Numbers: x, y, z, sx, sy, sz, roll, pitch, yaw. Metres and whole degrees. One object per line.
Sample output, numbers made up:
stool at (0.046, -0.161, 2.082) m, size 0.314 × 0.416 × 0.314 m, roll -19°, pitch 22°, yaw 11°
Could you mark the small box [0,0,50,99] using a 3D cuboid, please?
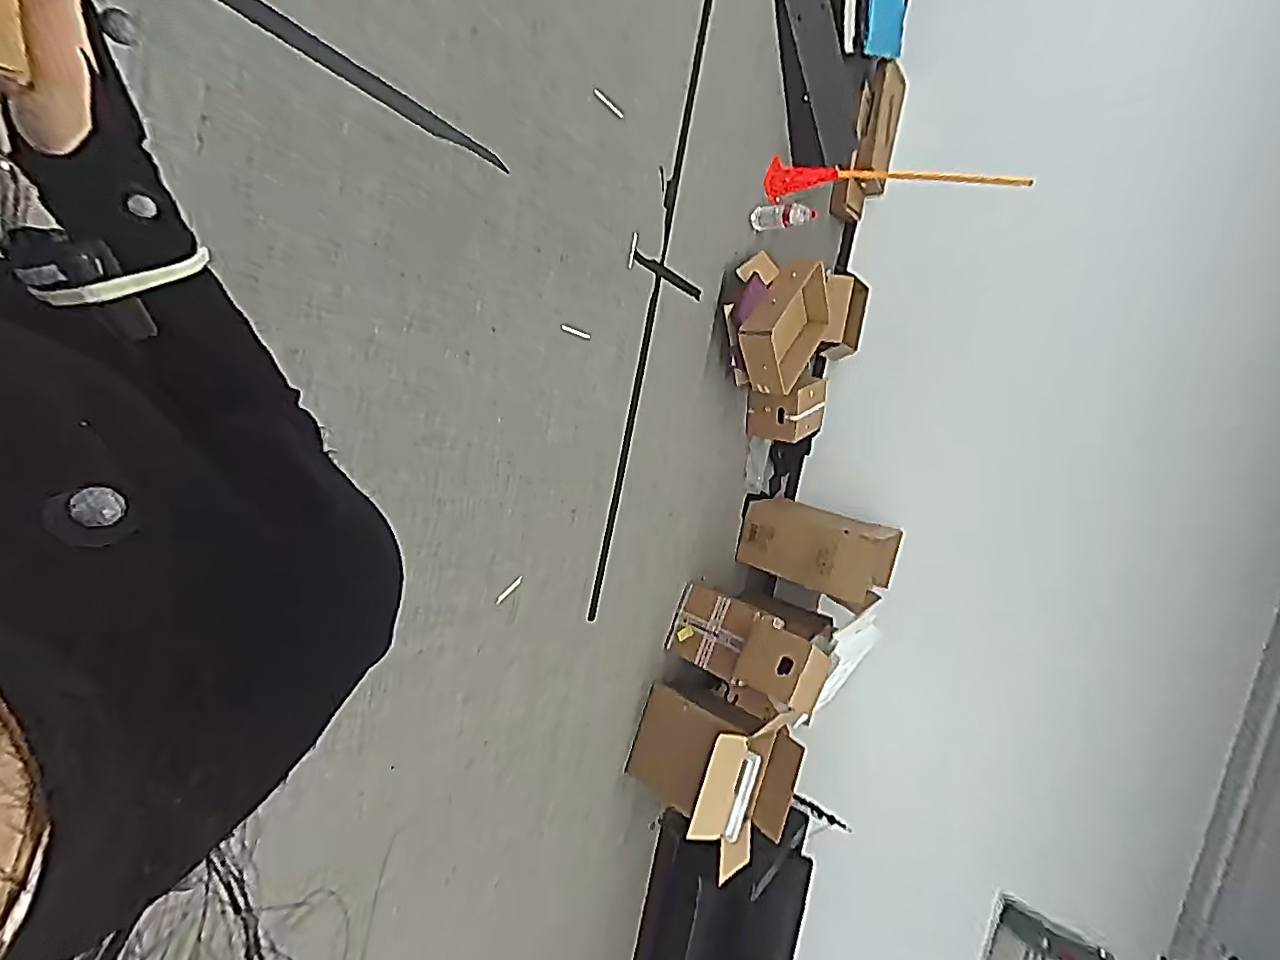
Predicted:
small box at (-0.325, -0.250, 0.166) m, size 0.168 × 0.176 × 0.179 m, roll -12°, pitch 120°, yaw -50°
